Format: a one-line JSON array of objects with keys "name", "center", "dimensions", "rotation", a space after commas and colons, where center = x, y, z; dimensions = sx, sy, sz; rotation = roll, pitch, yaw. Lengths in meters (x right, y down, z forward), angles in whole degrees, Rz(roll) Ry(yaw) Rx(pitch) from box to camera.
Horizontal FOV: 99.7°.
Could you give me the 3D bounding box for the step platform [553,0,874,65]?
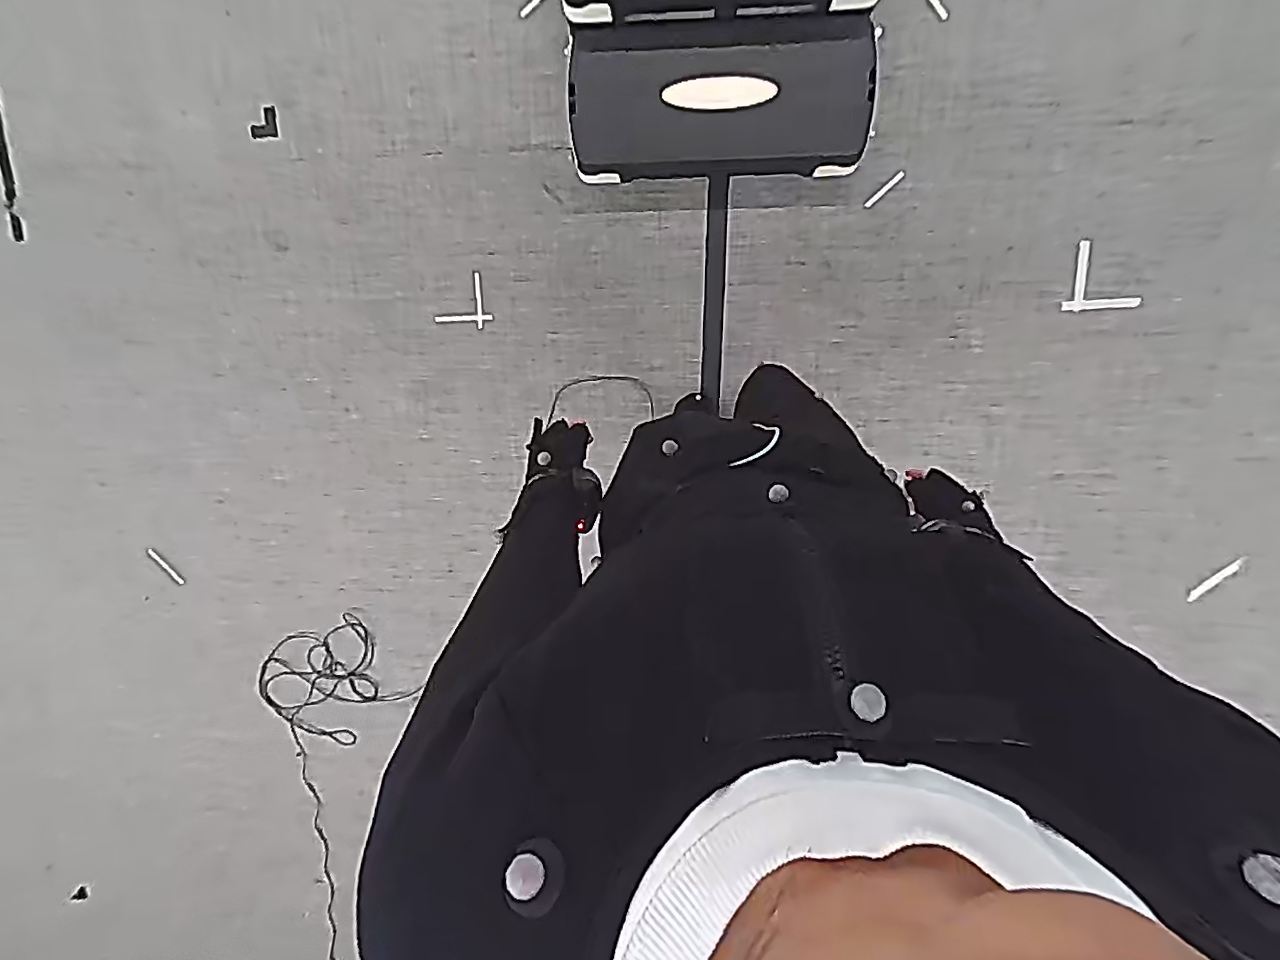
[{"name": "step platform", "center": [0.149, -1.088, 1.120], "dimensions": [0.684, 0.204, 0.286], "rotation": [-1, 102, 4]}]
